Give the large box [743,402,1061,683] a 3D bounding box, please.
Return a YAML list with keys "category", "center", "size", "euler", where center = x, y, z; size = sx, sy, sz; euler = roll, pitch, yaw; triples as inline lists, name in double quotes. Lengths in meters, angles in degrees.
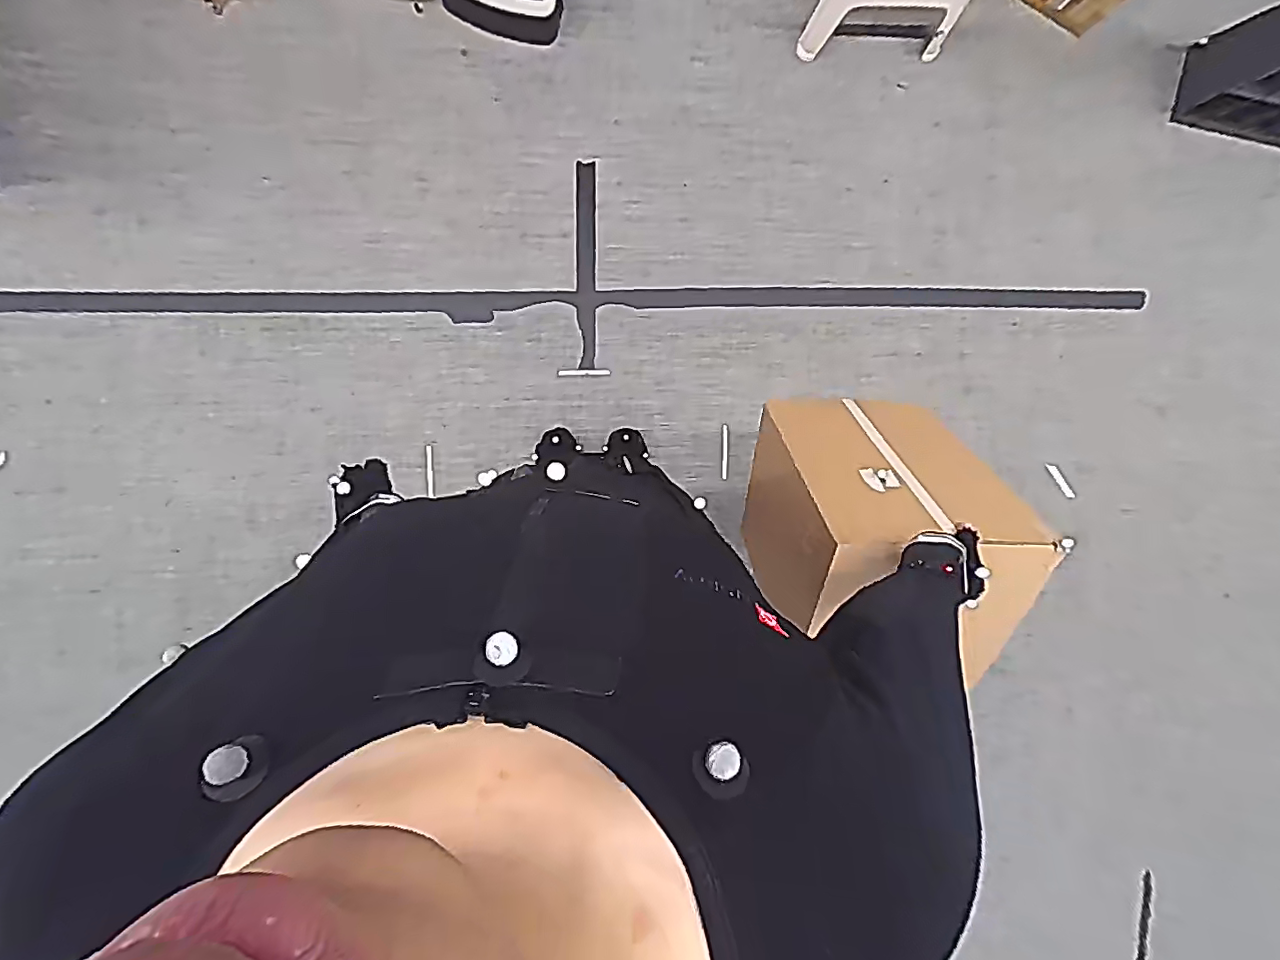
- category: "large box"
  center: [0.395, 0.095, 0.958]
  size: [0.320, 0.408, 0.320]
  euler: [0, 127, -3]
